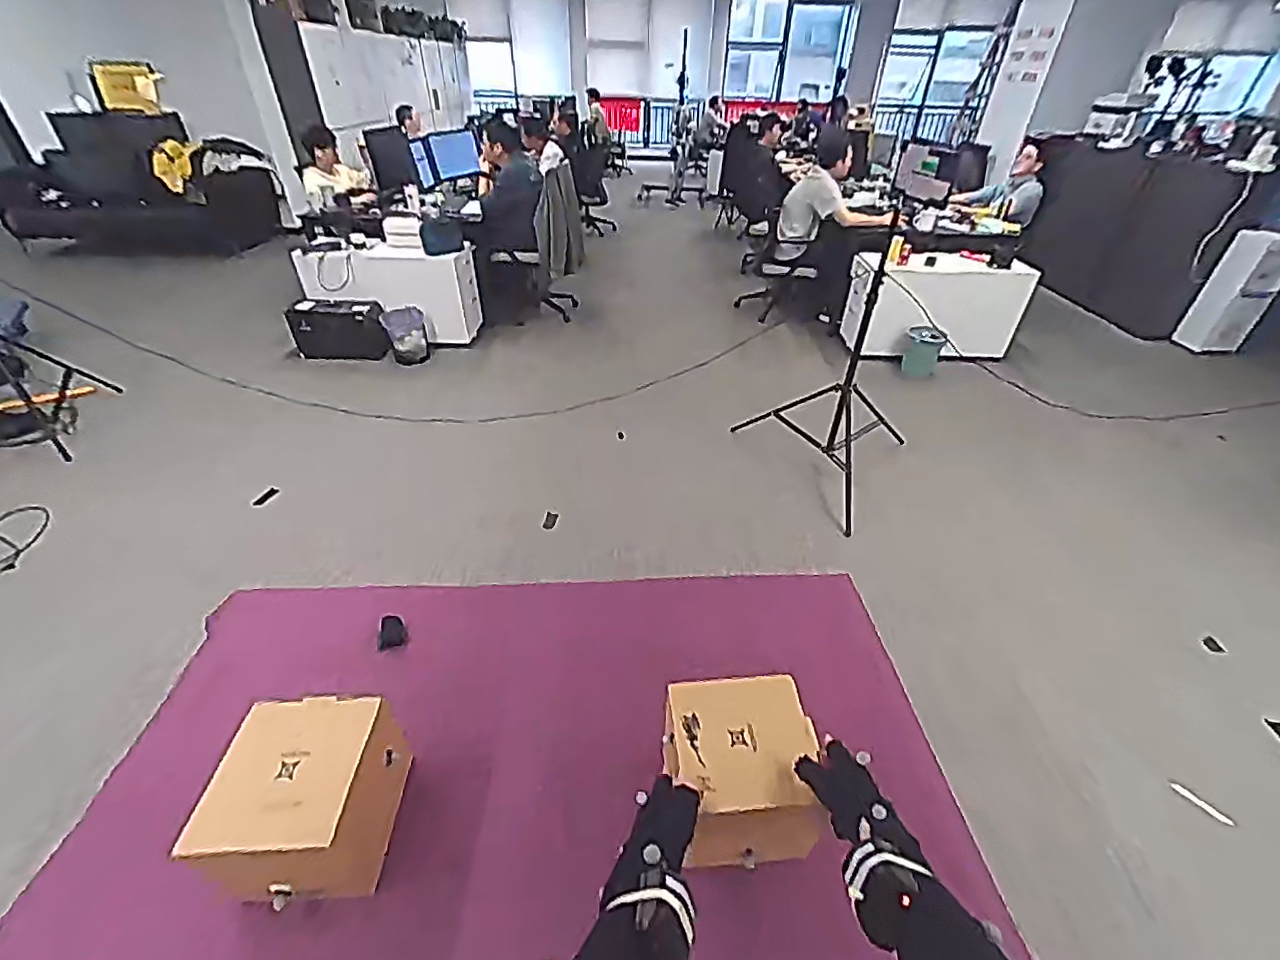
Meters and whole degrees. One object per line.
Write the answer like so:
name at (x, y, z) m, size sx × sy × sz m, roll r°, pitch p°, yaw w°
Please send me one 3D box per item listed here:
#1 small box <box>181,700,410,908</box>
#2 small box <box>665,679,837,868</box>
small box at (-0.409, 0.406, 0.686) m, size 0.168 × 0.176 × 0.179 m, roll -2°, pitch 37°, yaw -3°
small box at (0.132, 0.389, 0.721) m, size 0.179 × 0.176 × 0.168 m, roll -2°, pitch 36°, yaw -4°
